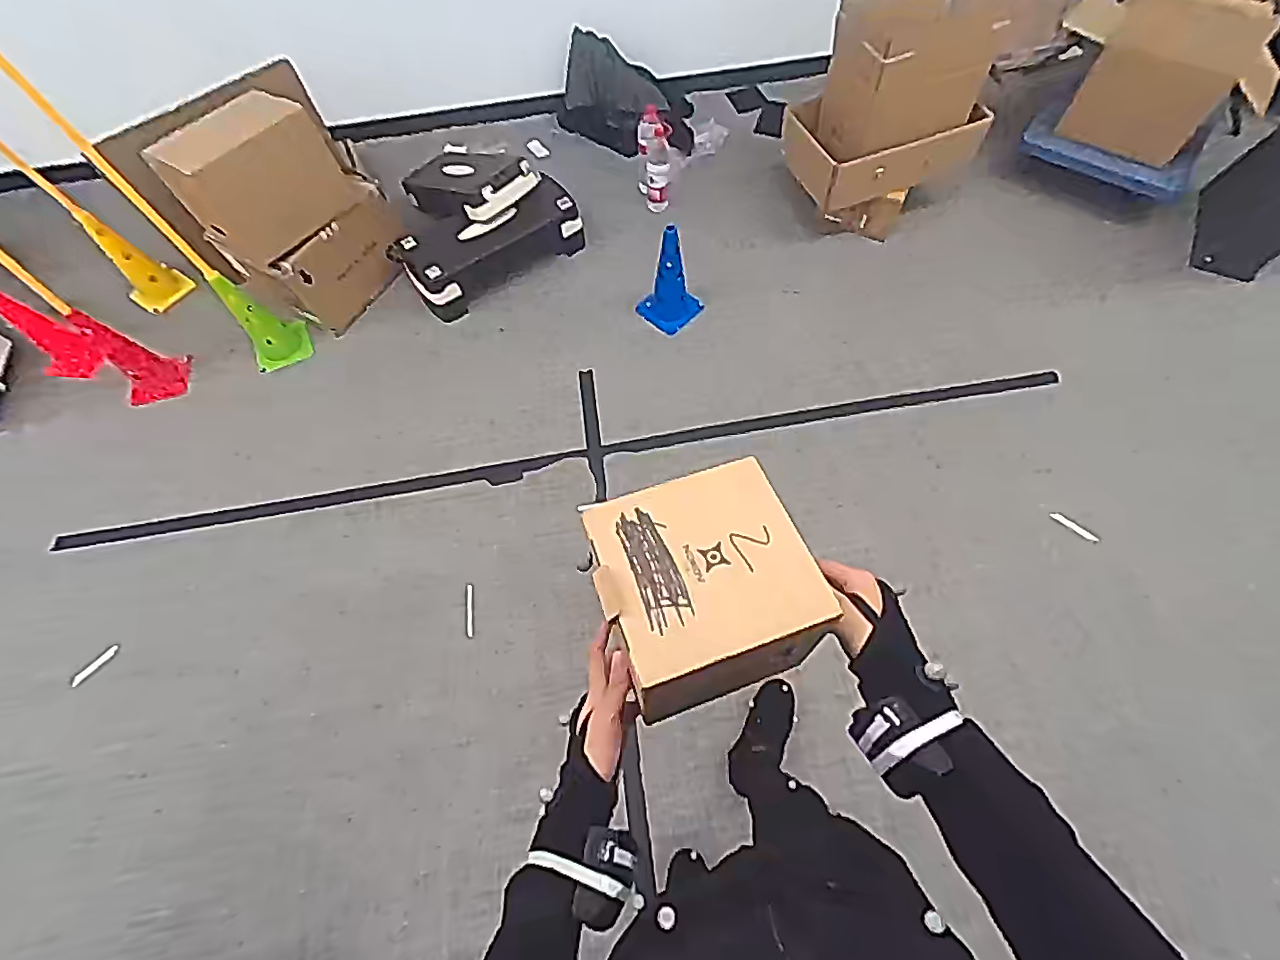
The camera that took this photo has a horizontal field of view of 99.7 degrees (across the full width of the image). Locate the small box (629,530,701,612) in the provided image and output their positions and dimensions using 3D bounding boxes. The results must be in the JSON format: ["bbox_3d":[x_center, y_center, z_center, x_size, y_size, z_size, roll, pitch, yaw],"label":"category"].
[{"bbox_3d":[0.070,0.262,1.515,0.168,0.176,0.179,-12,64,-3],"label":"small box"}]
